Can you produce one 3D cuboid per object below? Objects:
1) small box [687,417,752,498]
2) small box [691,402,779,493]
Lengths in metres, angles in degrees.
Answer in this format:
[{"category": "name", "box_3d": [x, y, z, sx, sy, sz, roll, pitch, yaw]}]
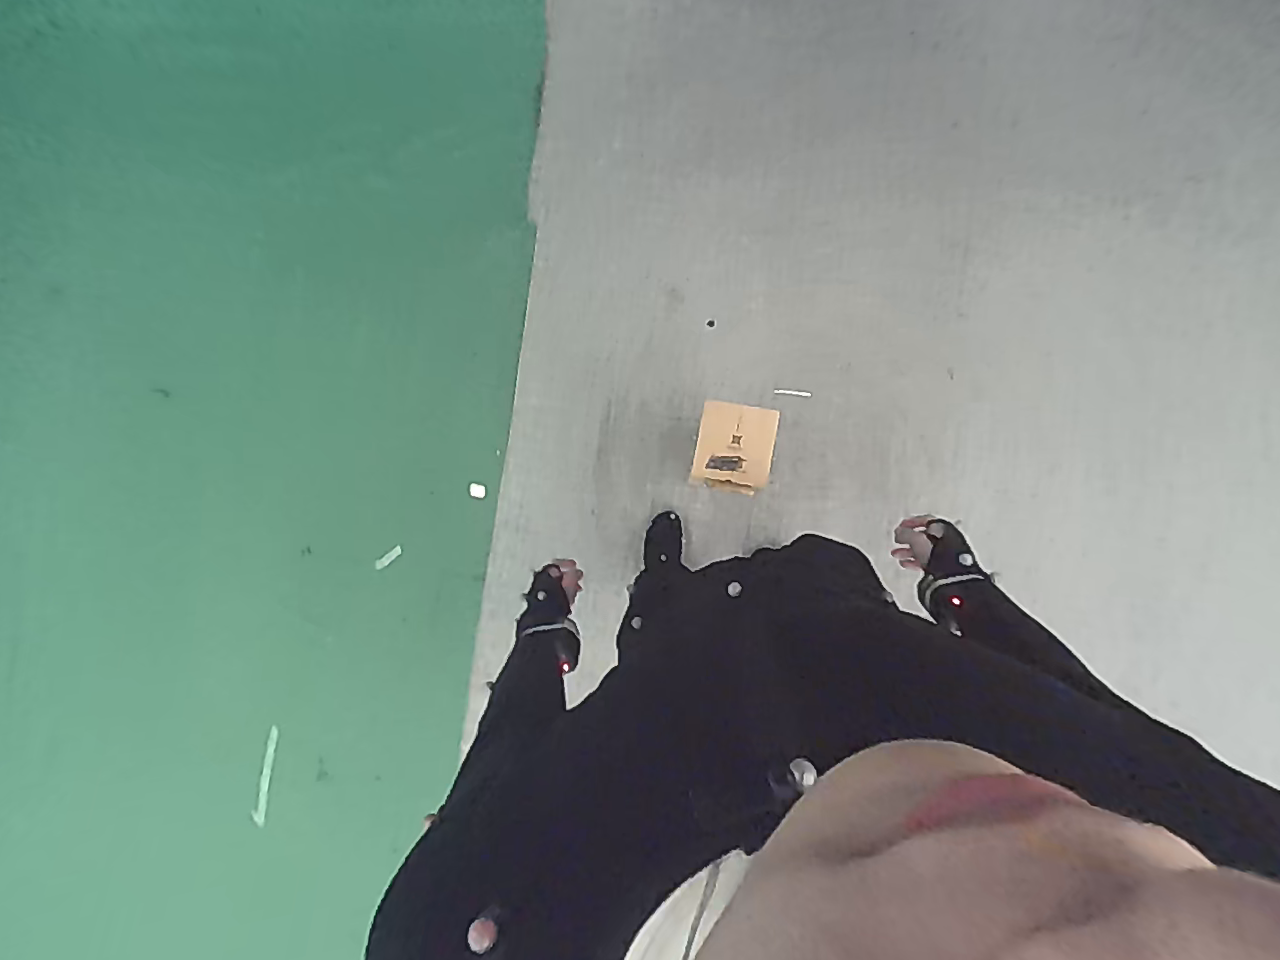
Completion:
[{"category": "small box", "box_3d": [0.226, -0.055, 1.413, 0.168, 0.176, 0.179, 12, 89, 8]}, {"category": "small box", "box_3d": [0.218, -0.070, 1.265, 0.168, 0.176, 0.179, 11, 88, 7]}]
